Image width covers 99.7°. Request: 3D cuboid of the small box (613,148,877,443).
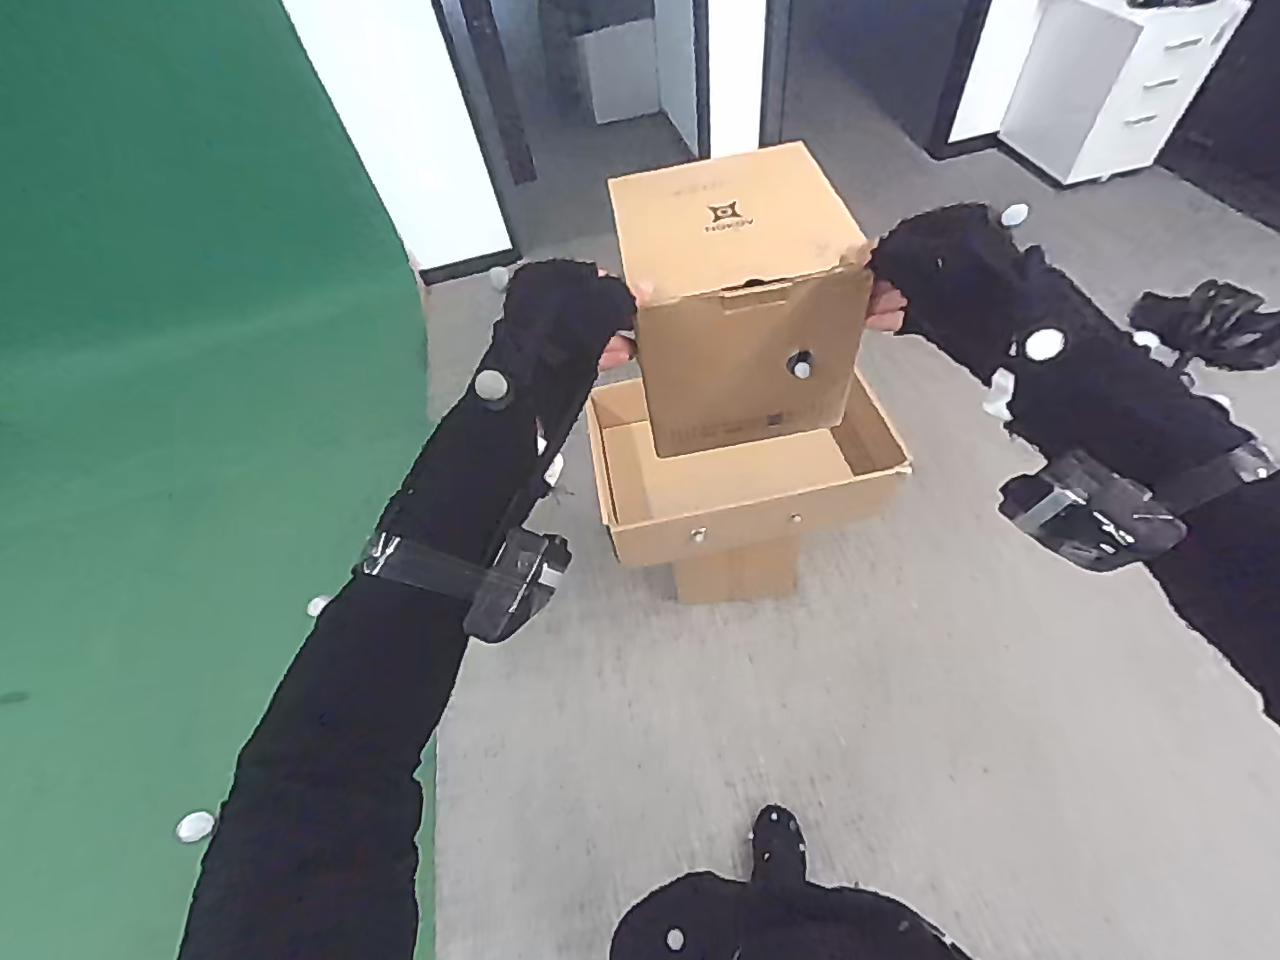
[{"bbox_3d":[0.078,-0.148,0.469,0.168,0.176,0.179,-11,53,1],"label":"small box"}]
